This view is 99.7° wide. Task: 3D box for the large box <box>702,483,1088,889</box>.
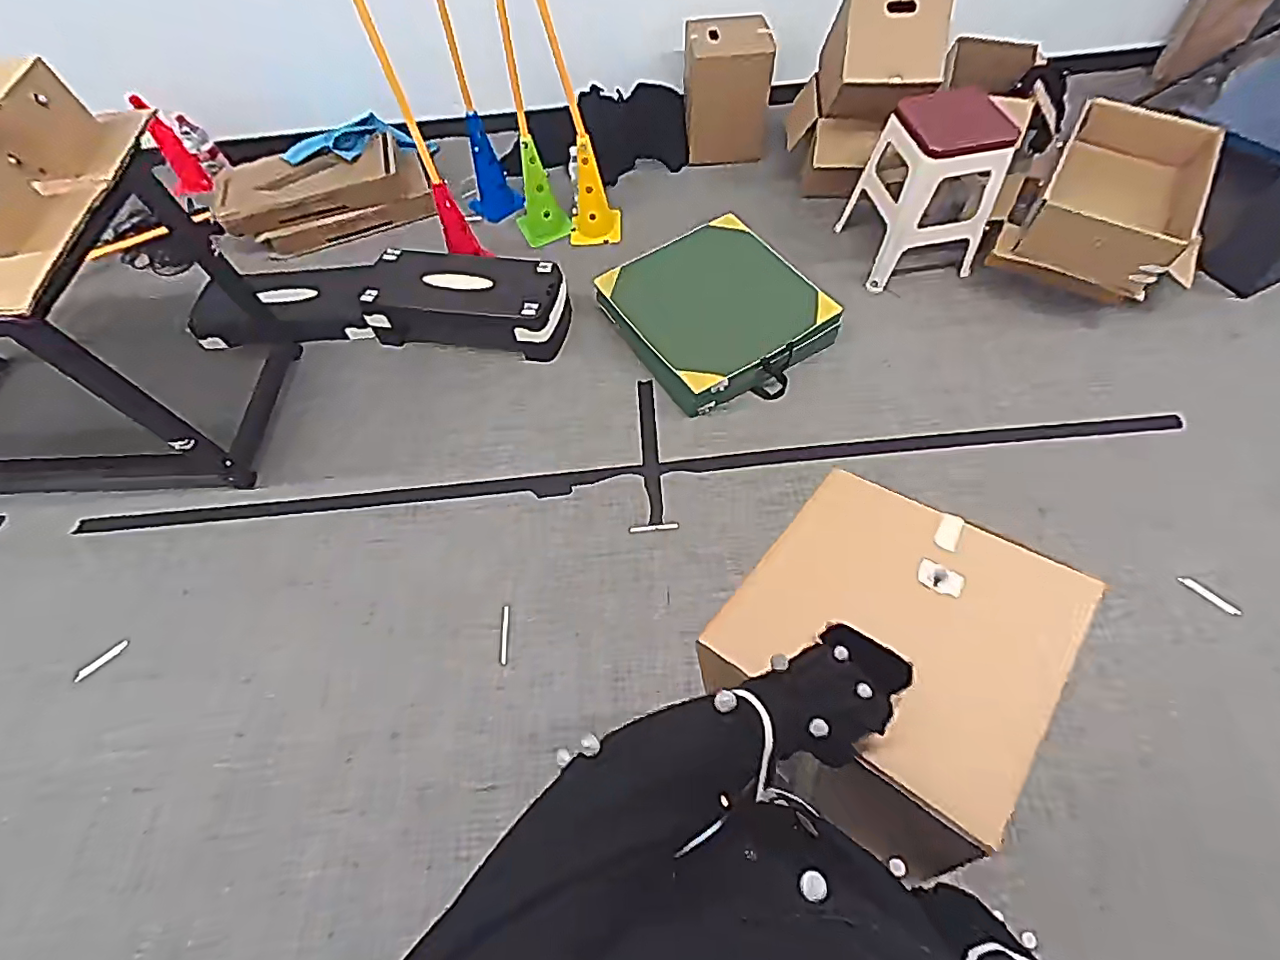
[{"bbox_3d":[0.317,0.279,0.740,0.320,0.408,0.320,29,62,32],"label":"large box"}]
